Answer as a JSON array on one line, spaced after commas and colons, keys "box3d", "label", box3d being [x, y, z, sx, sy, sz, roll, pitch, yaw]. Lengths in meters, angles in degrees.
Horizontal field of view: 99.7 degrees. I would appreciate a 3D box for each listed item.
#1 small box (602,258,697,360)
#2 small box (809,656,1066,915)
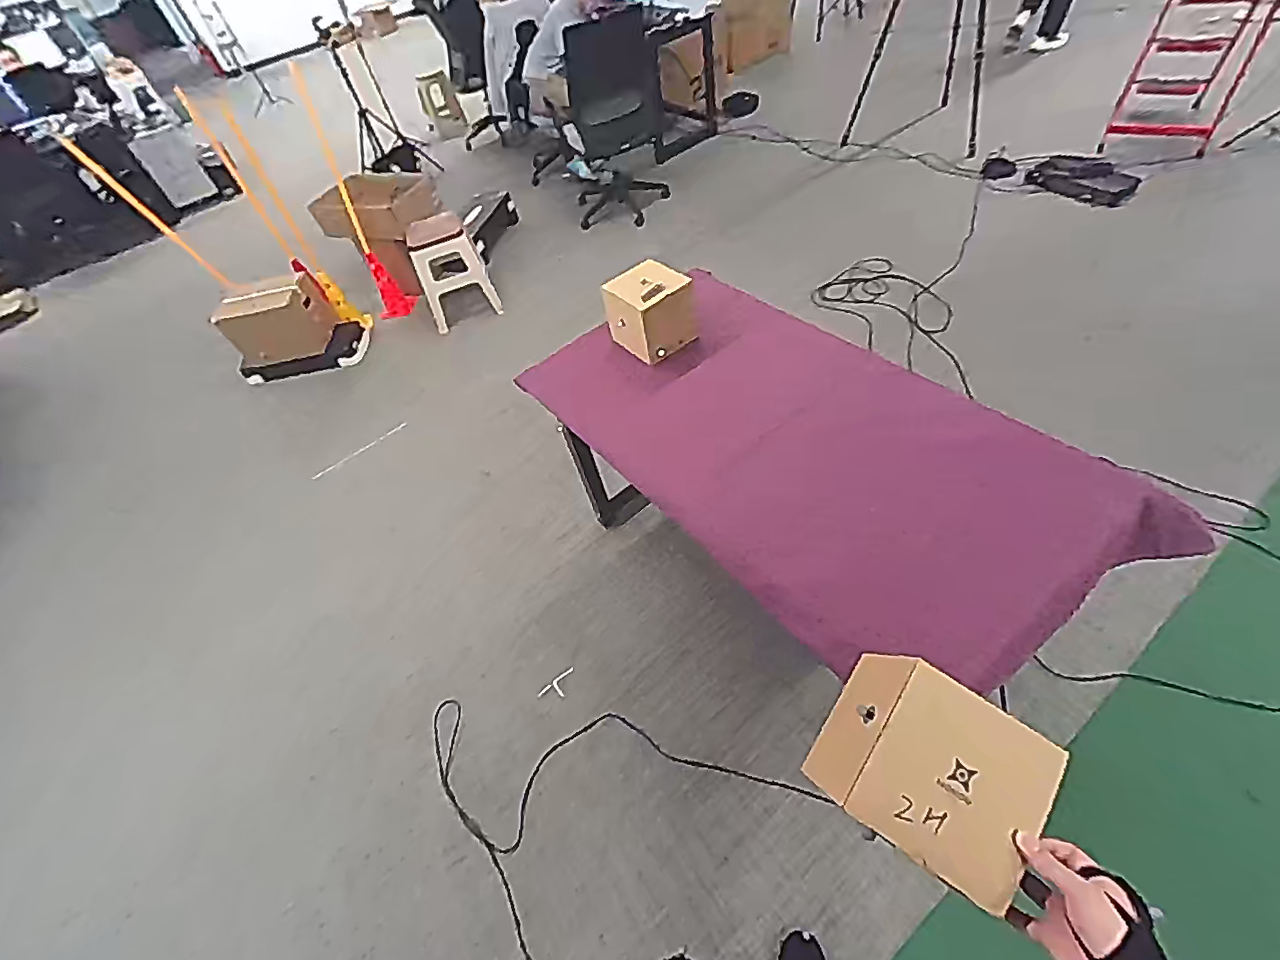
[{"box3d": [0.032, -0.436, 1.396, 0.168, 0.176, 0.179, -35, 51, -17], "label": "small box"}, {"box3d": [0.315, 0.317, 0.612, 0.168, 0.176, 0.179, 33, 78, 11], "label": "small box"}]
